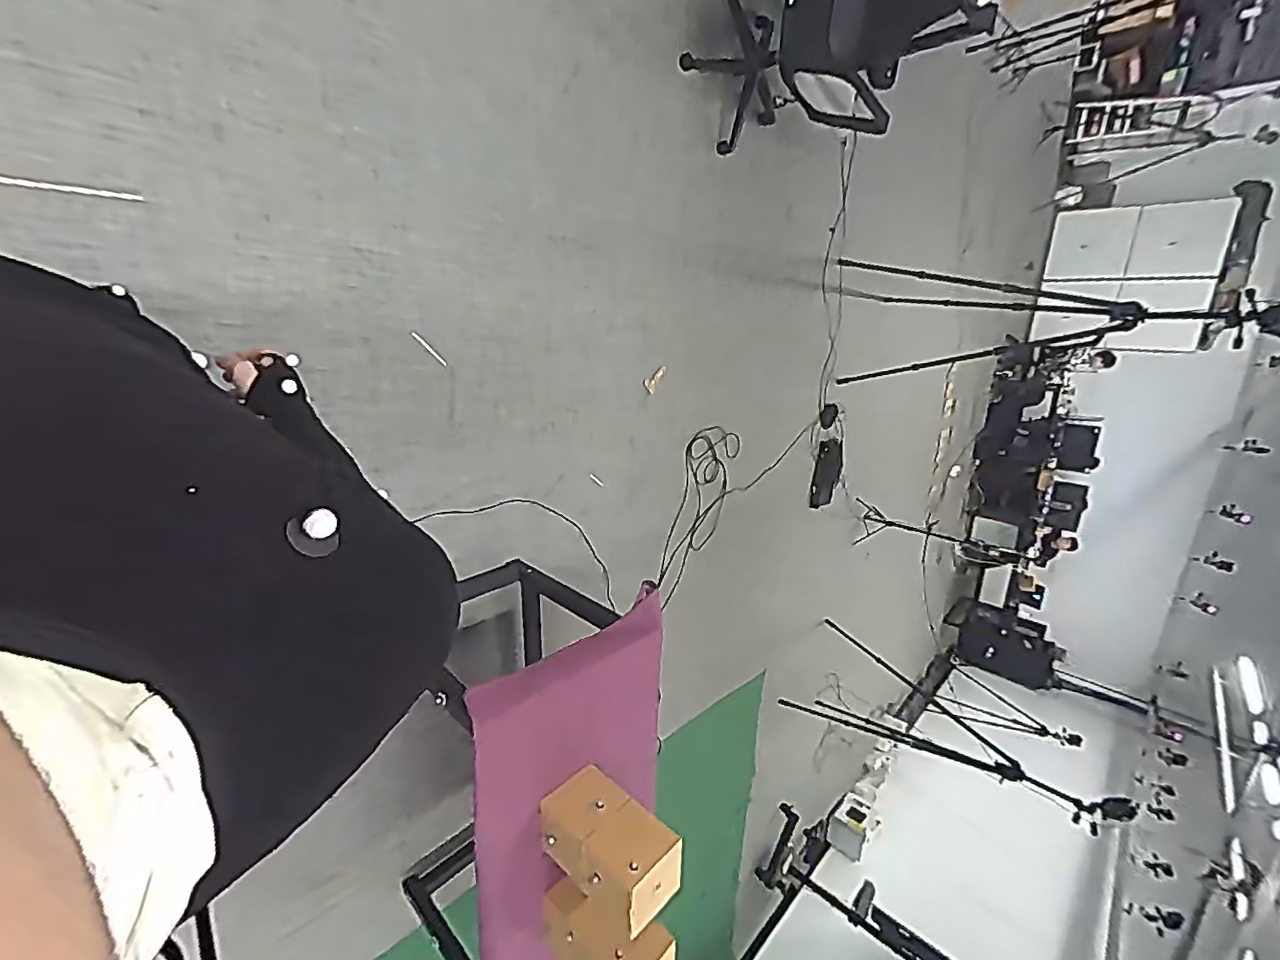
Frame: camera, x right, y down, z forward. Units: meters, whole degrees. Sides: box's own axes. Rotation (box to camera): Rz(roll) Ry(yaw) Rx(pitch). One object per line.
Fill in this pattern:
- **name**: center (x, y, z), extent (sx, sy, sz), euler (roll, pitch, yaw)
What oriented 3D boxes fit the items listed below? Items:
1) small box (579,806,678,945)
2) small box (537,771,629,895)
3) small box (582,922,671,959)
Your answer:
- **small box**: center (-0.029, 0.944, 1.311), extent (0.179, 0.176, 0.168), euler (-16, 114, -44)
- **small box**: center (-0.149, 0.911, 1.416), extent (0.179, 0.176, 0.168), euler (-16, 113, -44)
- **small box**: center (-0.041, 1.262, 1.397), extent (0.179, 0.176, 0.168), euler (-14, 113, -46)
